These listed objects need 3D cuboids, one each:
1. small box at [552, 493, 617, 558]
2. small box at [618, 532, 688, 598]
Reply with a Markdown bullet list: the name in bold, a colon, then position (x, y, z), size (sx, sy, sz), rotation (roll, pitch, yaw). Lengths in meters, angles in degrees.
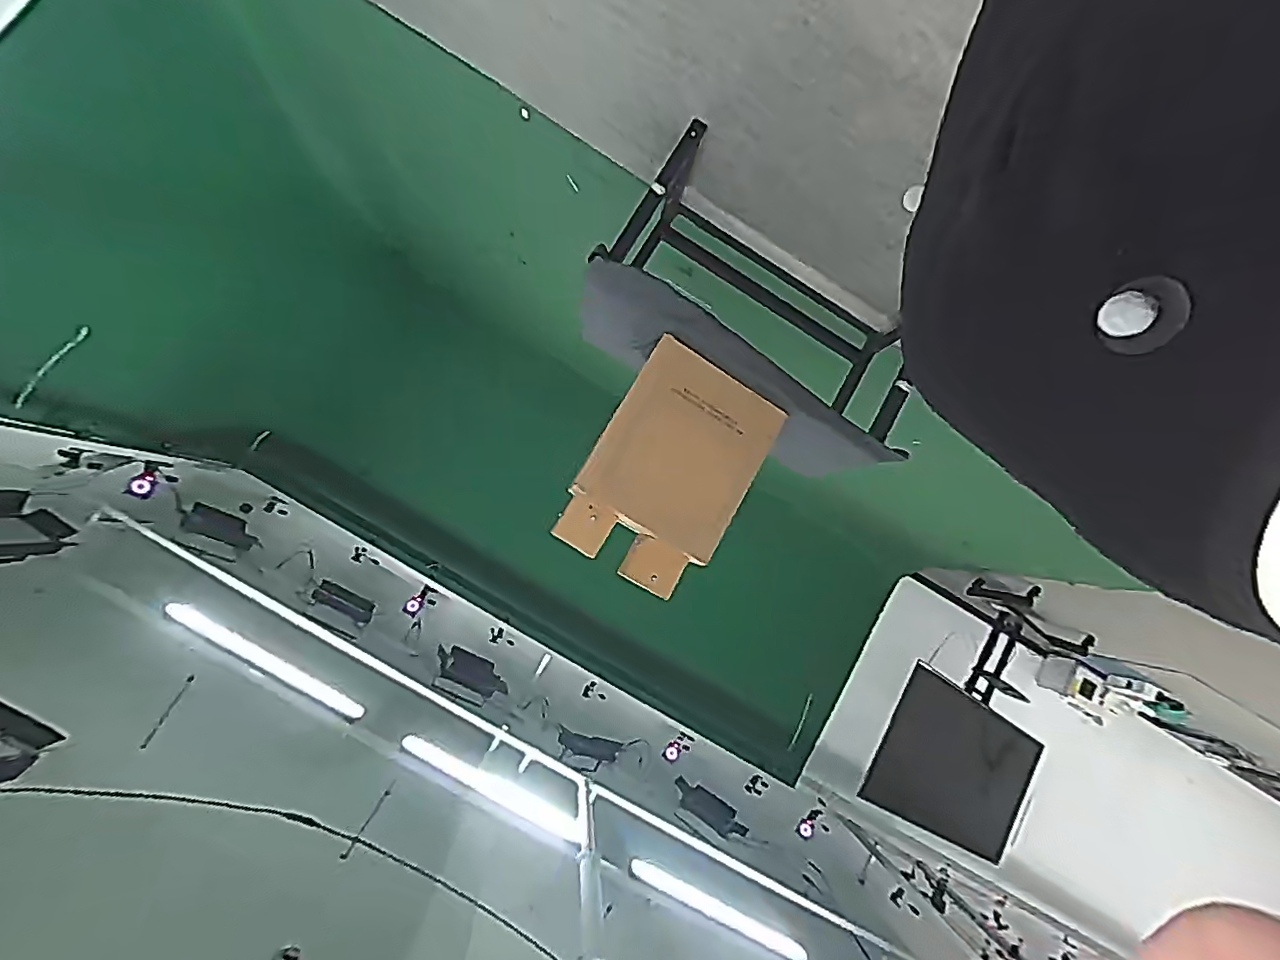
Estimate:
- **small box**: position (-0.199, 0.160, 1.937), size (0.168, 0.176, 0.179), rotation (33, 169, -8)
- **small box**: position (0.049, 0.304, 1.963), size (0.179, 0.176, 0.168), rotation (32, 168, -8)
